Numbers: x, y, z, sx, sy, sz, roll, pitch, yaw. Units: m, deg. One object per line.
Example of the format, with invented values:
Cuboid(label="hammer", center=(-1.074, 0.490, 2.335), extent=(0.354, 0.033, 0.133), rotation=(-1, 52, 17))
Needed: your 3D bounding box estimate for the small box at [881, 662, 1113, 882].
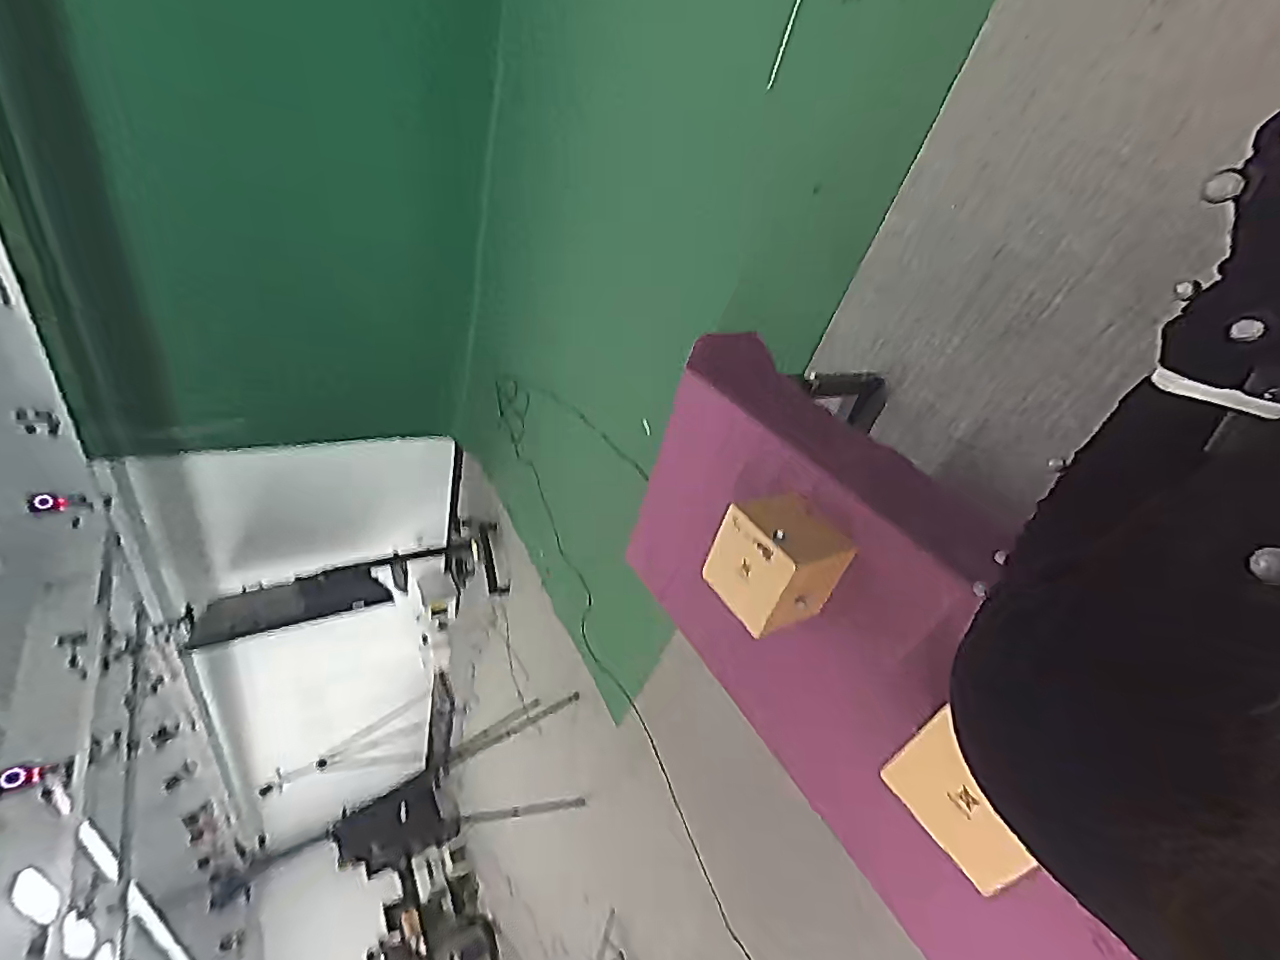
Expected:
Cuboid(label="small box", center=(0.472, 0.378, 0.721), extent=(0.168, 0.176, 0.179), rotation=(48, 134, 38))

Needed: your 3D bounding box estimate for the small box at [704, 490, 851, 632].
Cuboid(label="small box", center=(0.250, 0.141, 0.988), extent=(0.168, 0.176, 0.179), rotation=(47, 134, 38))
